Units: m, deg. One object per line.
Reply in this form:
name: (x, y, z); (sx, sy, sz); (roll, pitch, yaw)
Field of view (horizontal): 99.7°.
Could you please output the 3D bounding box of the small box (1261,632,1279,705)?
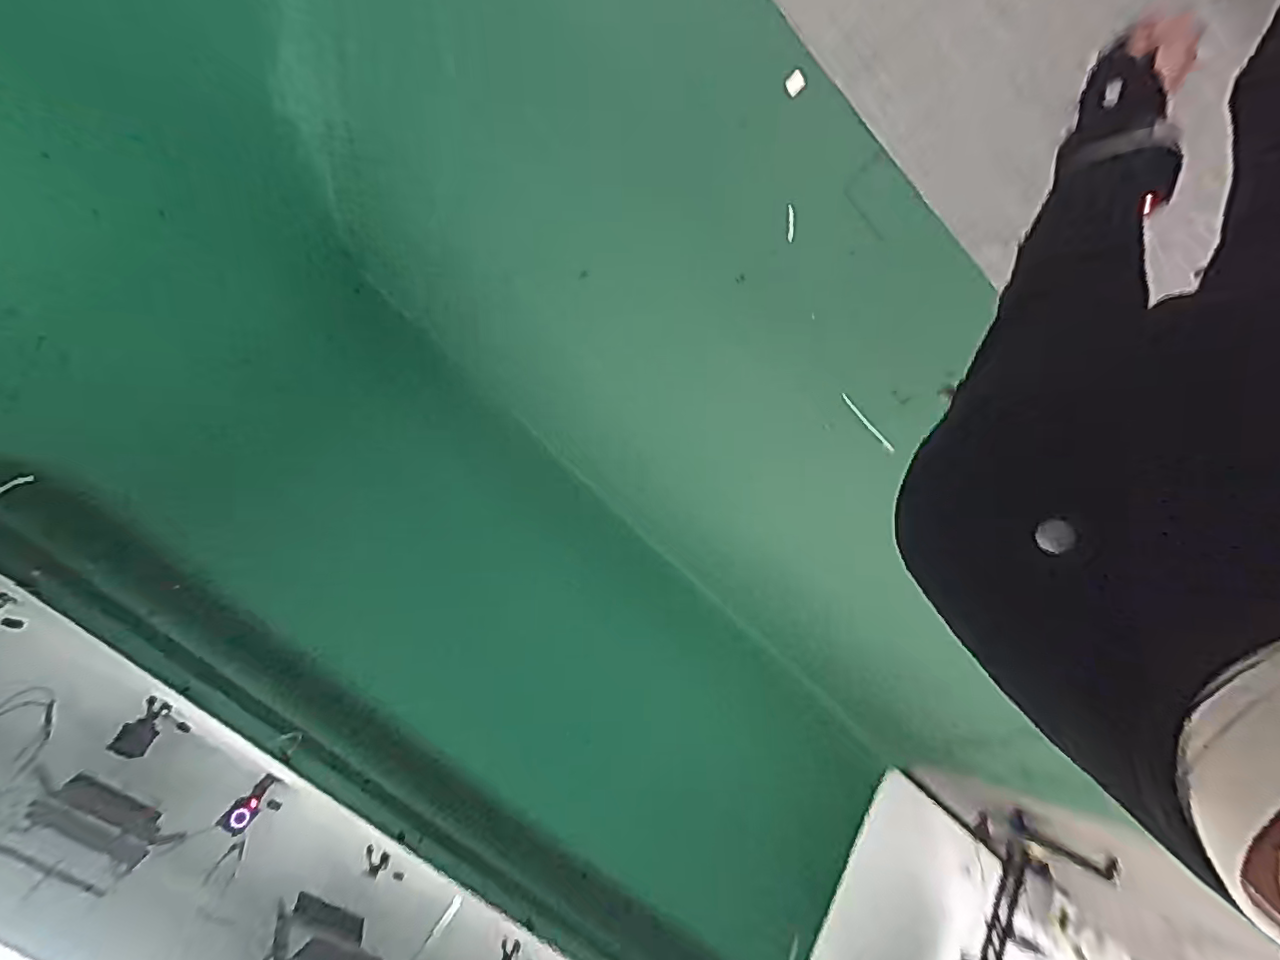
small box: (1.854, 0.538, 1.473); (0.179, 0.176, 0.168); (43, 153, -11)
